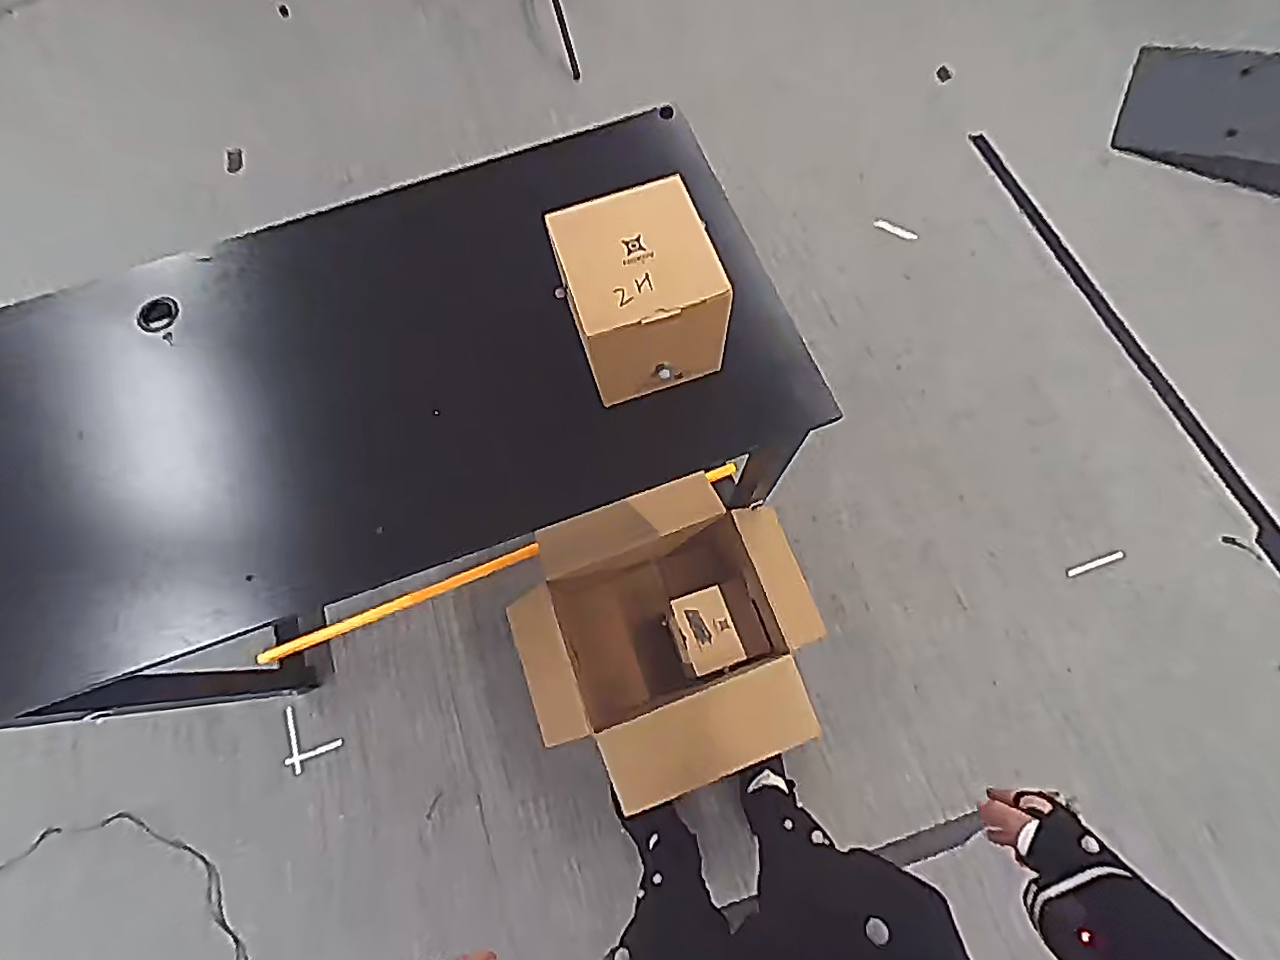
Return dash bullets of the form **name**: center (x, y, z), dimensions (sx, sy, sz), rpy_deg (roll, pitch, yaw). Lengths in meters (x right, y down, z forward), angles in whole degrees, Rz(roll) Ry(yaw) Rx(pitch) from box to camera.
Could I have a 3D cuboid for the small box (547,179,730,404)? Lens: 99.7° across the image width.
- **small box**: center (-0.002, -0.223, 0.670), dimensions (0.168, 0.176, 0.179), rpy_deg (-18, 72, -2)
